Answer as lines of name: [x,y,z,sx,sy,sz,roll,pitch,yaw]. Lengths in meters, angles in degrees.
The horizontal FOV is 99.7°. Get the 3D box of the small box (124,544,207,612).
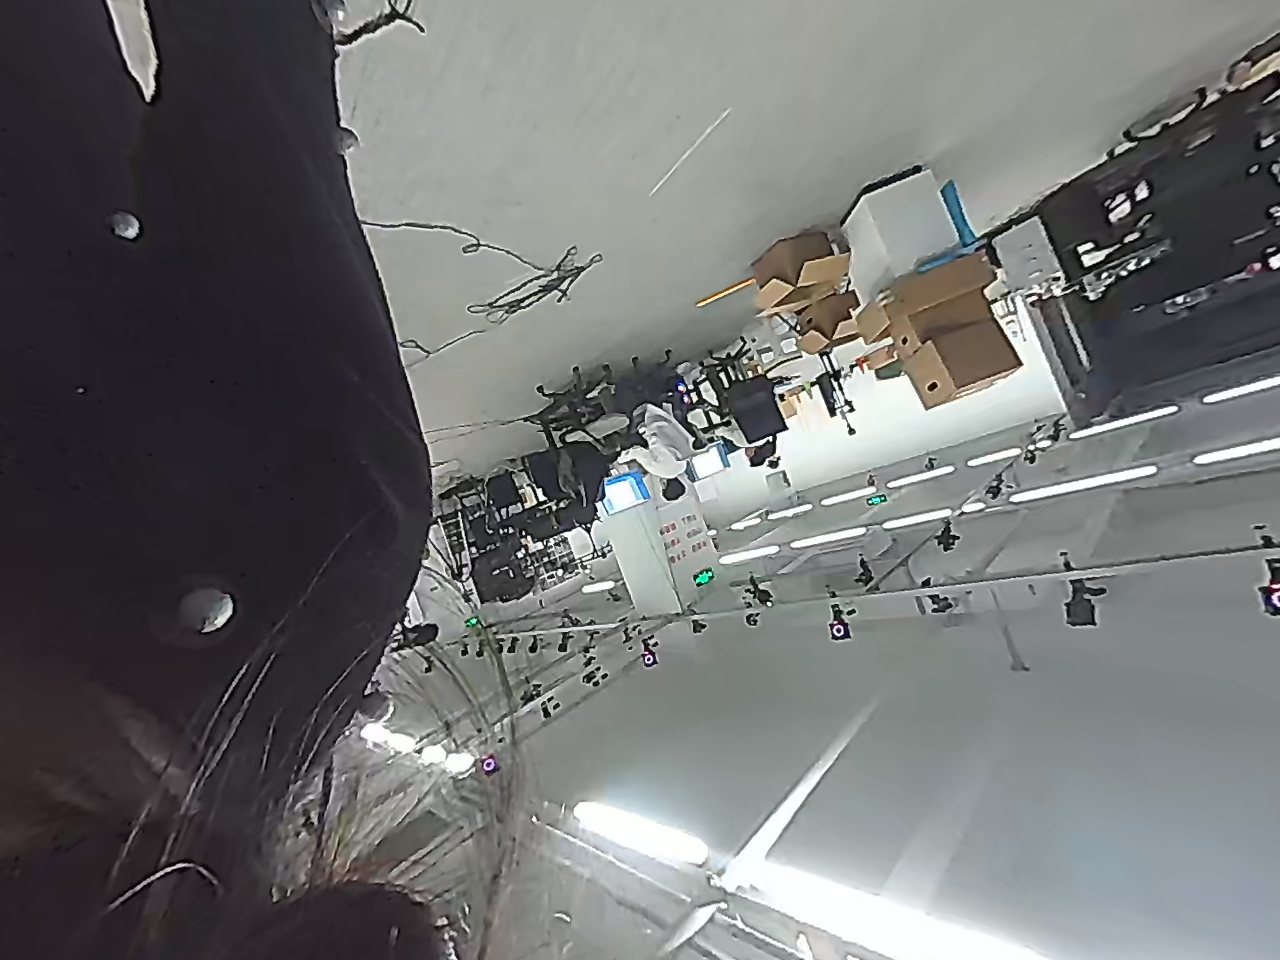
small box: [-1.653,0.339,1.888,0.179,0.176,0.168,-21,176,-43]
